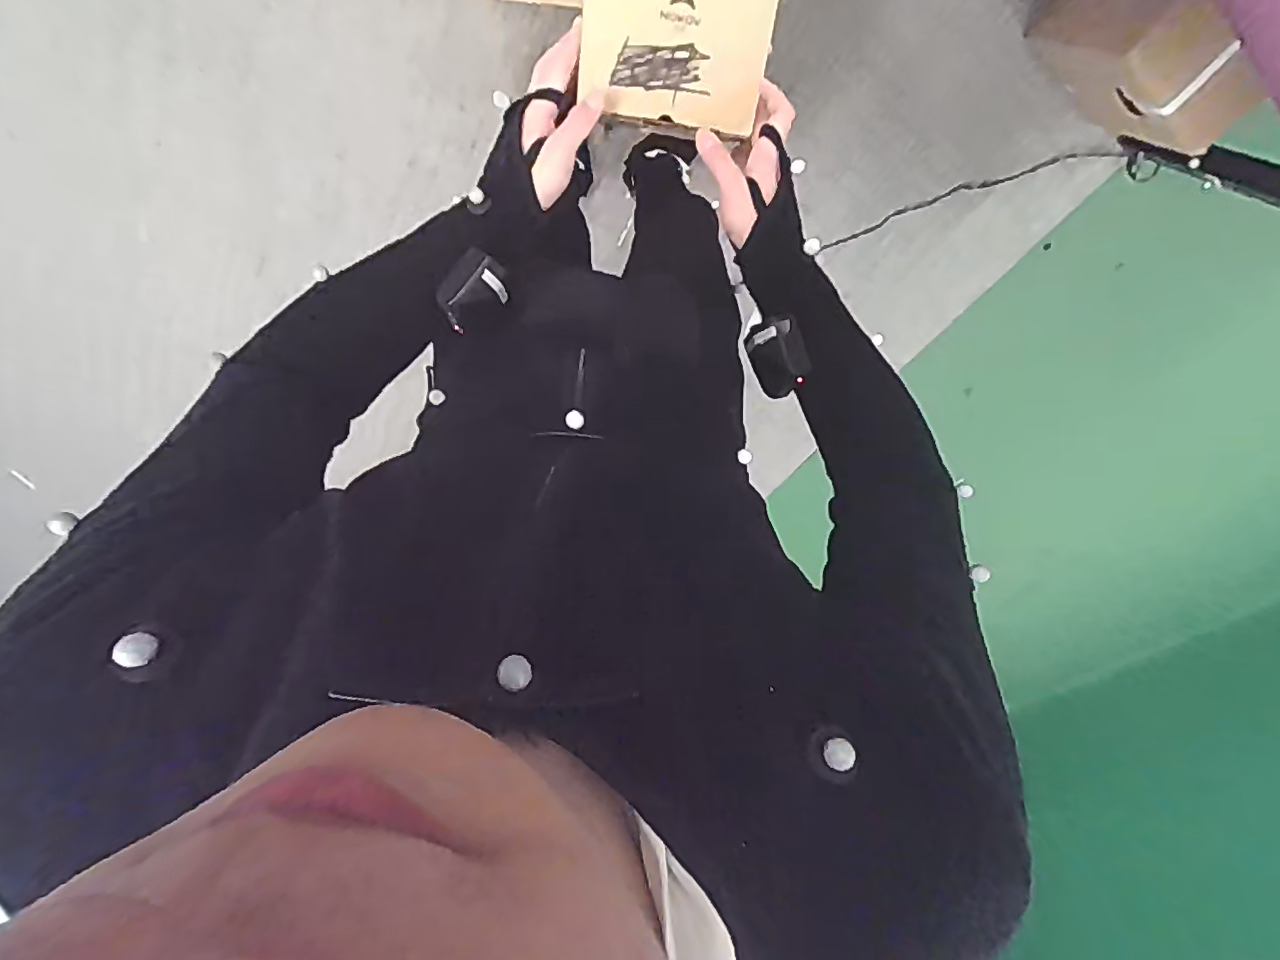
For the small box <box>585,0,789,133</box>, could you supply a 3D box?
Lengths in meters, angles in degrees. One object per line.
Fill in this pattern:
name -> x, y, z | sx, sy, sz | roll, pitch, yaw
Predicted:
small box -> 0.040, -0.444, 0.514 | 0.168, 0.176, 0.179 | 5, 120, -7
